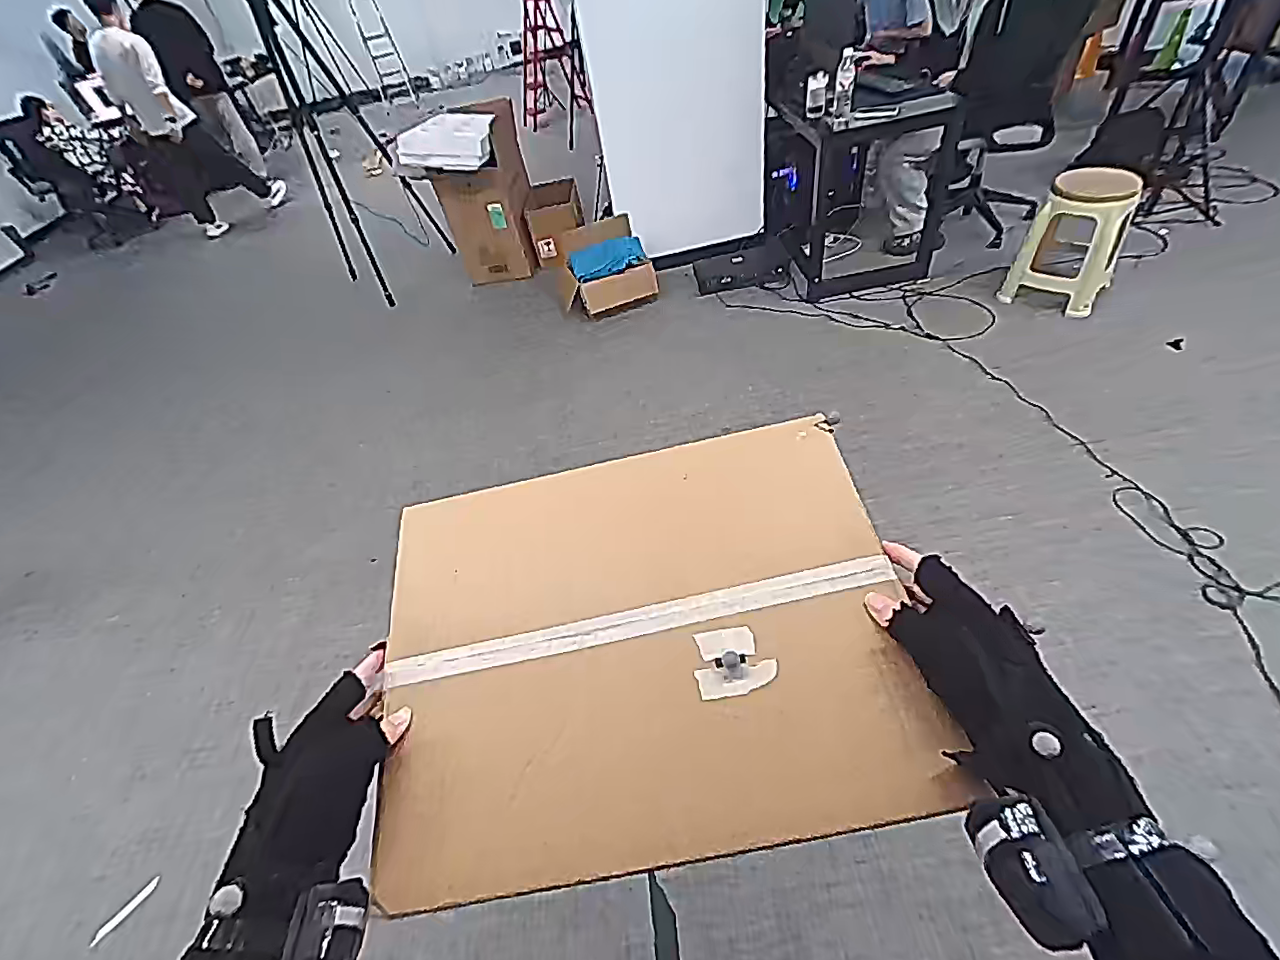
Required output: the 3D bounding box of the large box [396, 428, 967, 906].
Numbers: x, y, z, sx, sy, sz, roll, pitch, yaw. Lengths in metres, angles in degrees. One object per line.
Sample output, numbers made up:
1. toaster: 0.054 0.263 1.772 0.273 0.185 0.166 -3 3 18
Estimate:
1. large box: 0.022 0.198 0.565 0.408 0.320 0.320 -13 58 3
